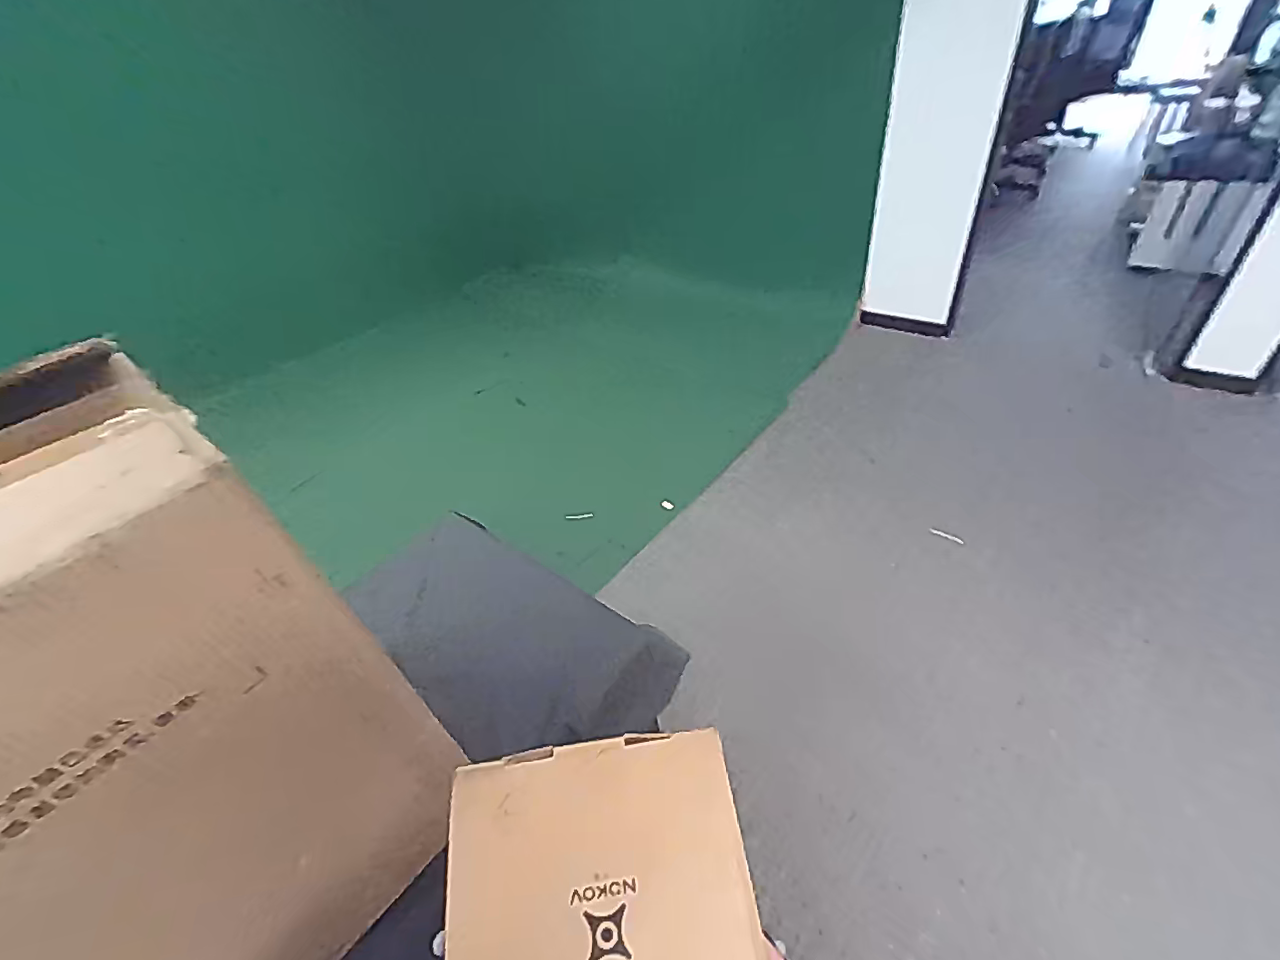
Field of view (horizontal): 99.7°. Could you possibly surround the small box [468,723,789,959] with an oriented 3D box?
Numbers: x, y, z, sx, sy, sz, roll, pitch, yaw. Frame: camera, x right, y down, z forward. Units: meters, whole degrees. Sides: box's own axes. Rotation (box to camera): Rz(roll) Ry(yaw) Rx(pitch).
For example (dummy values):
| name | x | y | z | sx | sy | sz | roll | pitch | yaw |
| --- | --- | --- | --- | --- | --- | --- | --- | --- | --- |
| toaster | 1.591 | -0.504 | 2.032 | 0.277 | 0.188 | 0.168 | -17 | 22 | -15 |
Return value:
| name | x | y | z | sx | sy | sz | roll | pitch | yaw |
| --- | --- | --- | --- | --- | --- | --- | --- | --- | --- |
| small box | -0.013 | 0.280 | 0.349 | 0.168 | 0.176 | 0.179 | -6 | 55 | -9 |
